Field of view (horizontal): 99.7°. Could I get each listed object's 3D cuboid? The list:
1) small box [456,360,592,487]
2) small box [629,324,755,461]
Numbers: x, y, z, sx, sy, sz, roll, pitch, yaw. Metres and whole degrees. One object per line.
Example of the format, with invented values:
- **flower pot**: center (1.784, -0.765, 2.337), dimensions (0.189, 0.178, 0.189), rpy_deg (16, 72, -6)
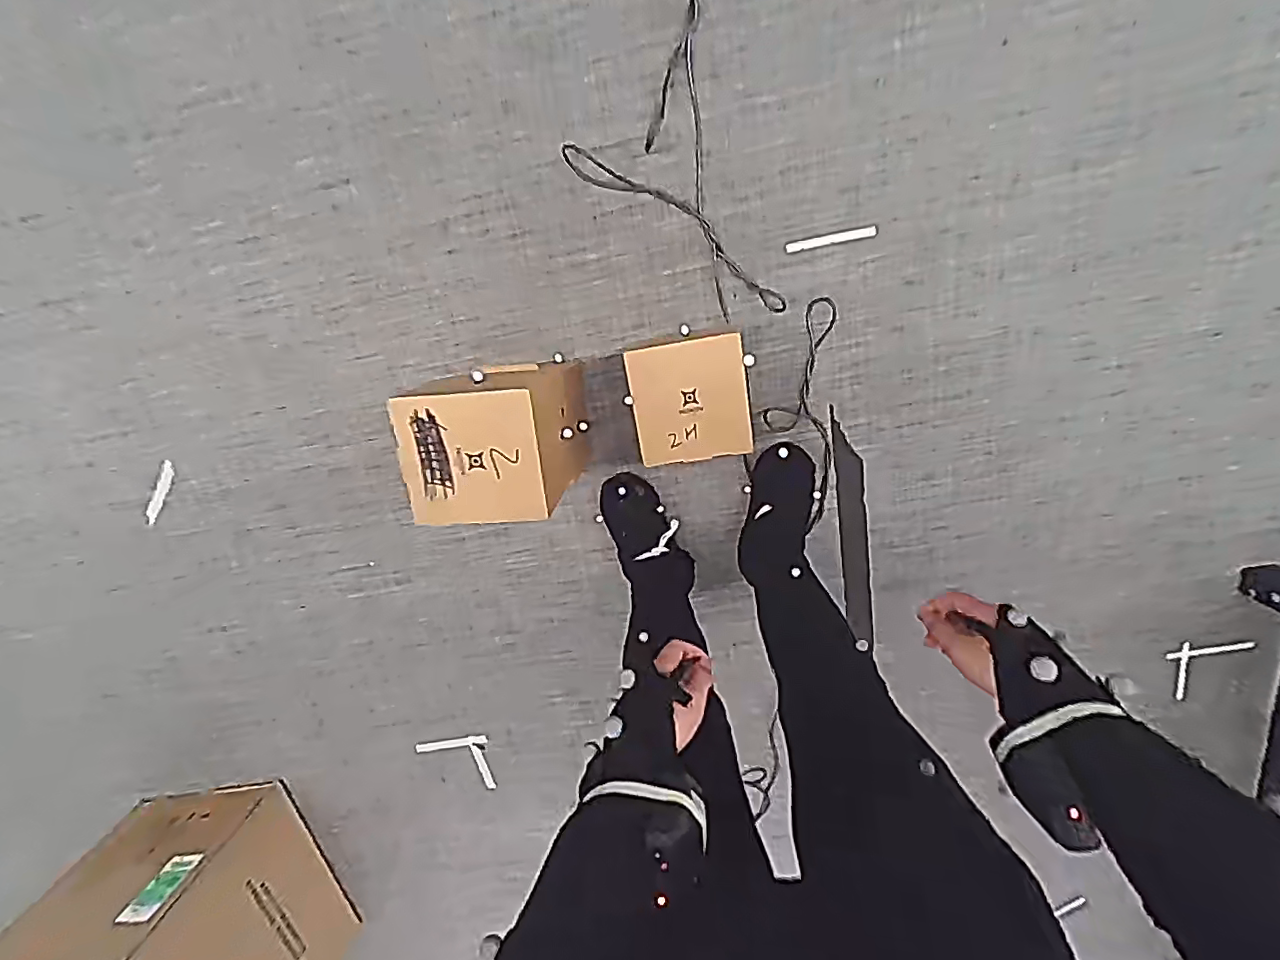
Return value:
- **small box**: center (-0.177, -0.099, 0.879), dimensions (0.168, 0.176, 0.179), rpy_deg (-2, 110, 6)
- **small box**: center (0.082, -0.144, 0.843), dimensions (0.168, 0.176, 0.179), rpy_deg (-7, 109, 8)
